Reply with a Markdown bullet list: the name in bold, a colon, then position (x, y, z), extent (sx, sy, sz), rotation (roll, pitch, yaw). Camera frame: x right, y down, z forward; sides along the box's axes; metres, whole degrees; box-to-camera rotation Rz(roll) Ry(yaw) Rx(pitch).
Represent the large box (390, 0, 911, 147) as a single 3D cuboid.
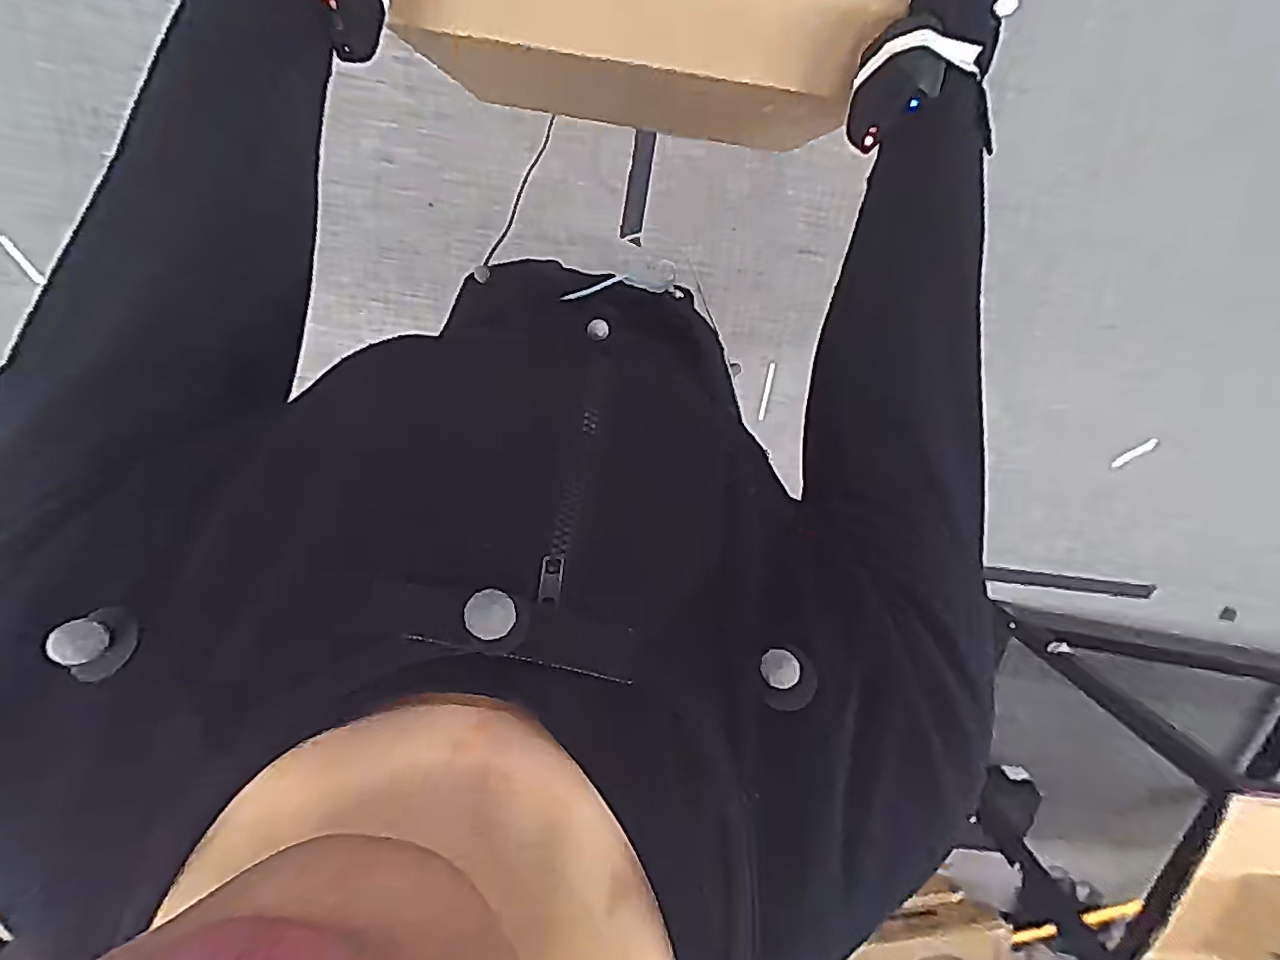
- **large box**: position (0.020, -0.529, 0.497), extent (0.408, 0.320, 0.320), rotation (7, 116, -4)
